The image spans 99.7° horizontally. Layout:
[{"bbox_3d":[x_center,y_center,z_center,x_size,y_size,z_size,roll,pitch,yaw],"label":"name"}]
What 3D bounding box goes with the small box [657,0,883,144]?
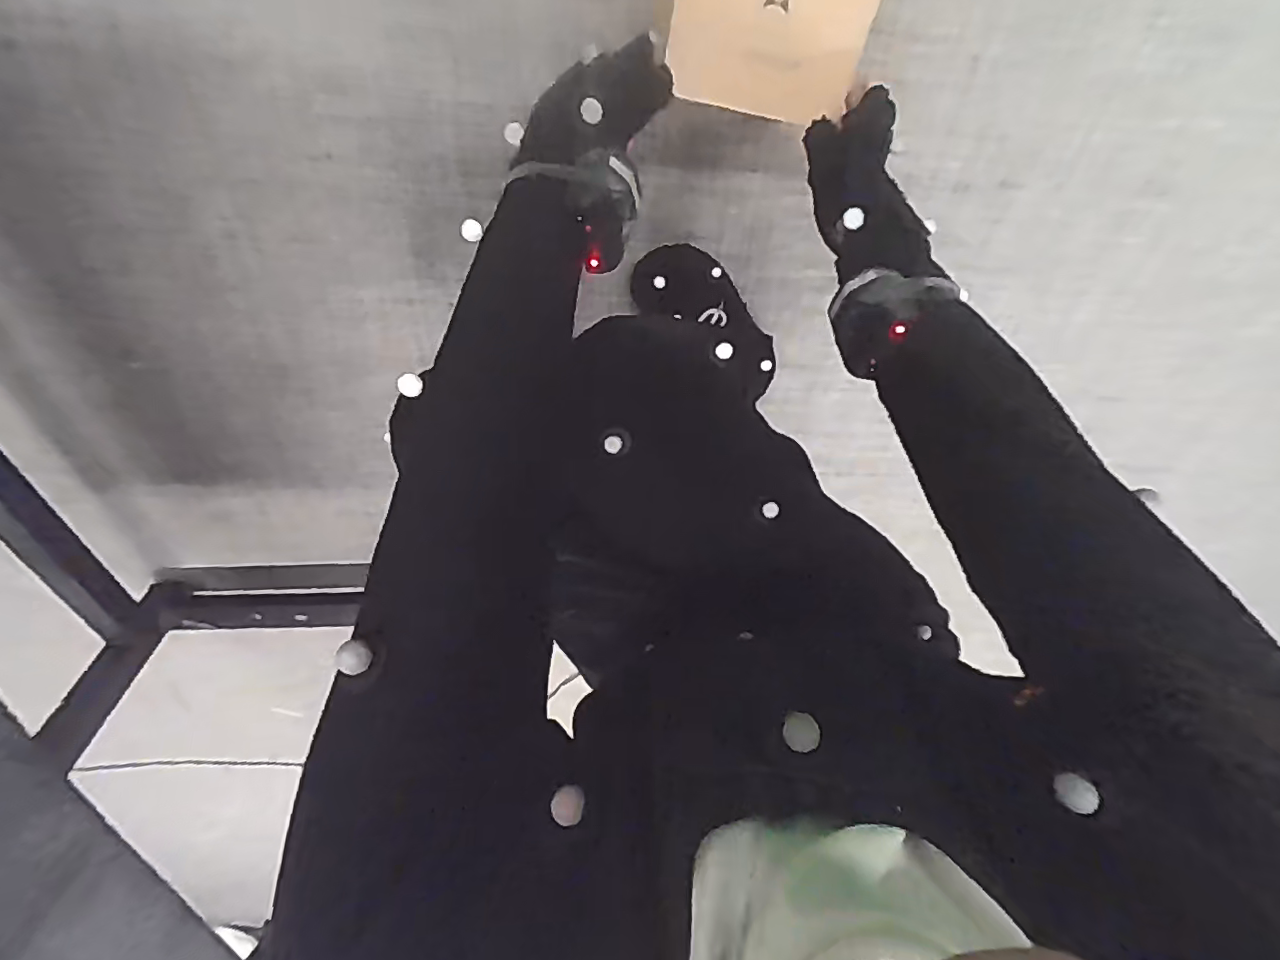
[{"bbox_3d":[0.111,-0.439,0.497,0.168,0.176,0.179,7,131,-7],"label":"small box"}]
